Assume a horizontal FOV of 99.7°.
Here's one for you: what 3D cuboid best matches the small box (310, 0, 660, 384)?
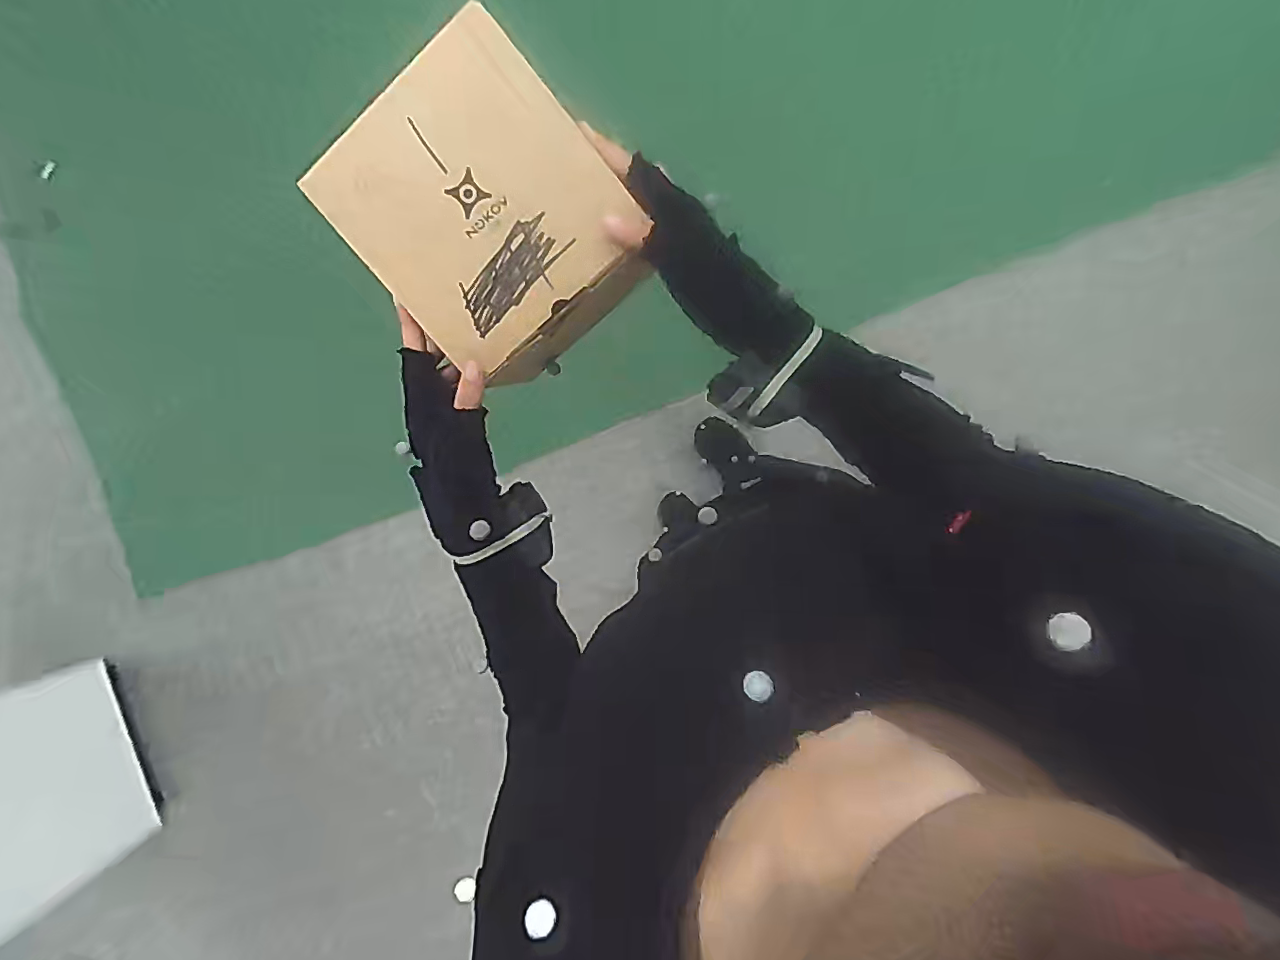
[{"bbox_3d":[-0.096,-0.198,0.429,0.168,0.176,0.179,-38,97,9],"label":"small box"}]
